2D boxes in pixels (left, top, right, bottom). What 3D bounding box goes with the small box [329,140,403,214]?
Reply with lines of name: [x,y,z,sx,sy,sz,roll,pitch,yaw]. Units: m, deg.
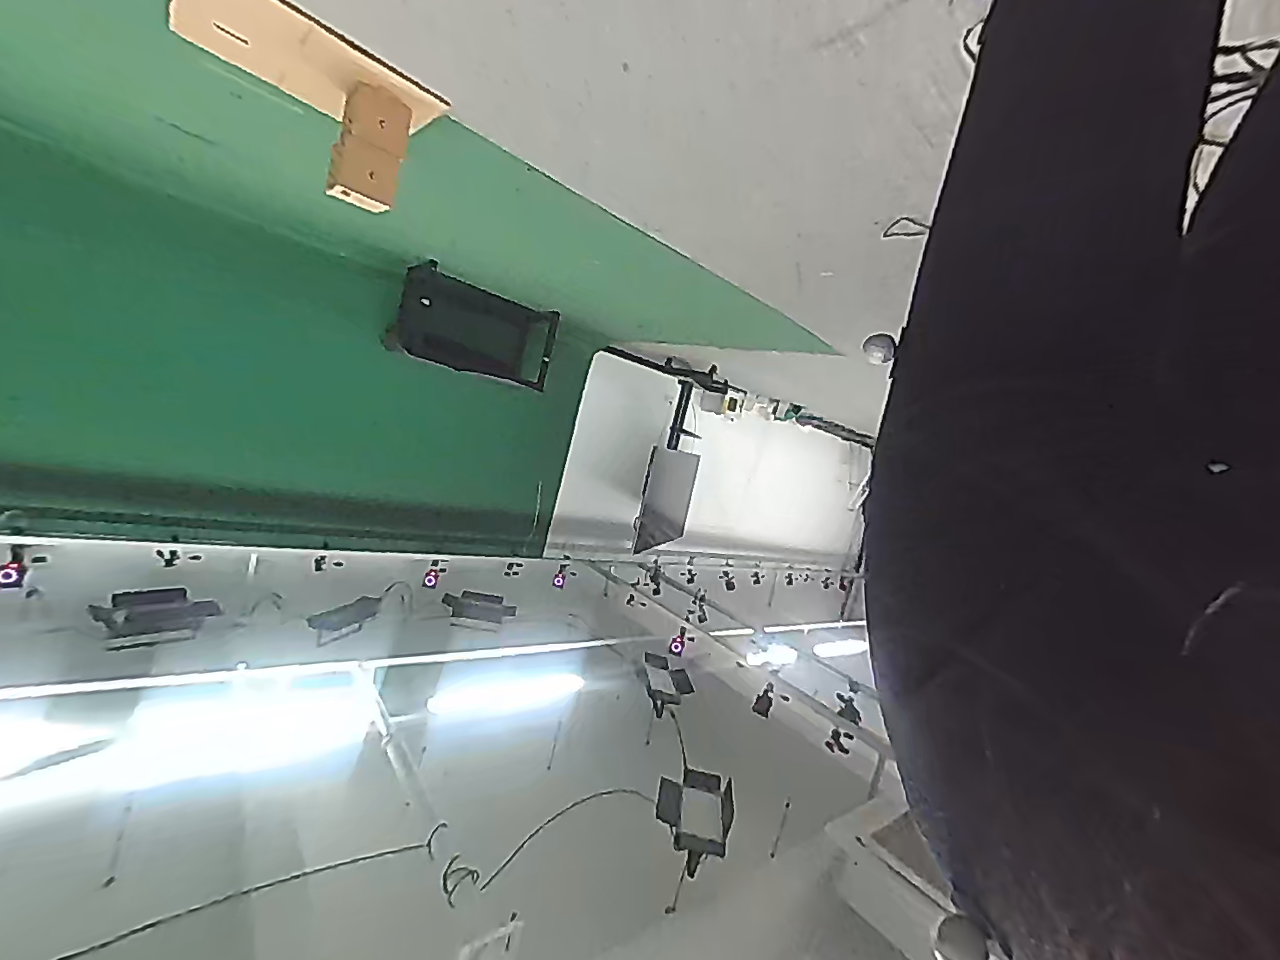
small box: [-0.955,-1.060,1.885,0.179,0.176,0.168,6,-171,-45]
